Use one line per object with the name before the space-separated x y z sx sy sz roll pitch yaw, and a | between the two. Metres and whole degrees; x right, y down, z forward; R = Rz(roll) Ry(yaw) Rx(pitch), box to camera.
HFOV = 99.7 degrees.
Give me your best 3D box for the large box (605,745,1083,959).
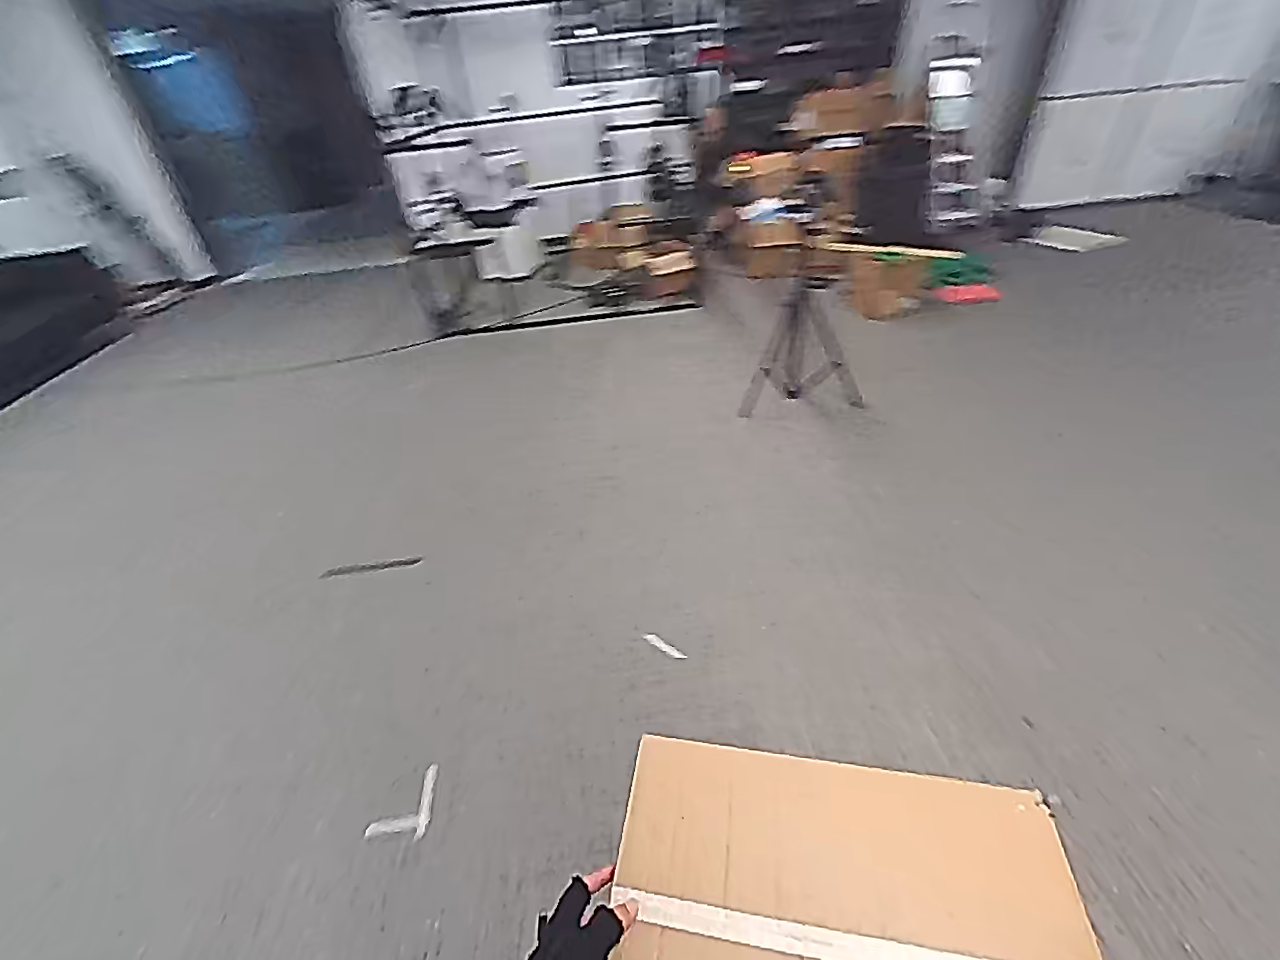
large box | 0.180 0.521 0.559 0.408 0.320 0.320 3 39 10
